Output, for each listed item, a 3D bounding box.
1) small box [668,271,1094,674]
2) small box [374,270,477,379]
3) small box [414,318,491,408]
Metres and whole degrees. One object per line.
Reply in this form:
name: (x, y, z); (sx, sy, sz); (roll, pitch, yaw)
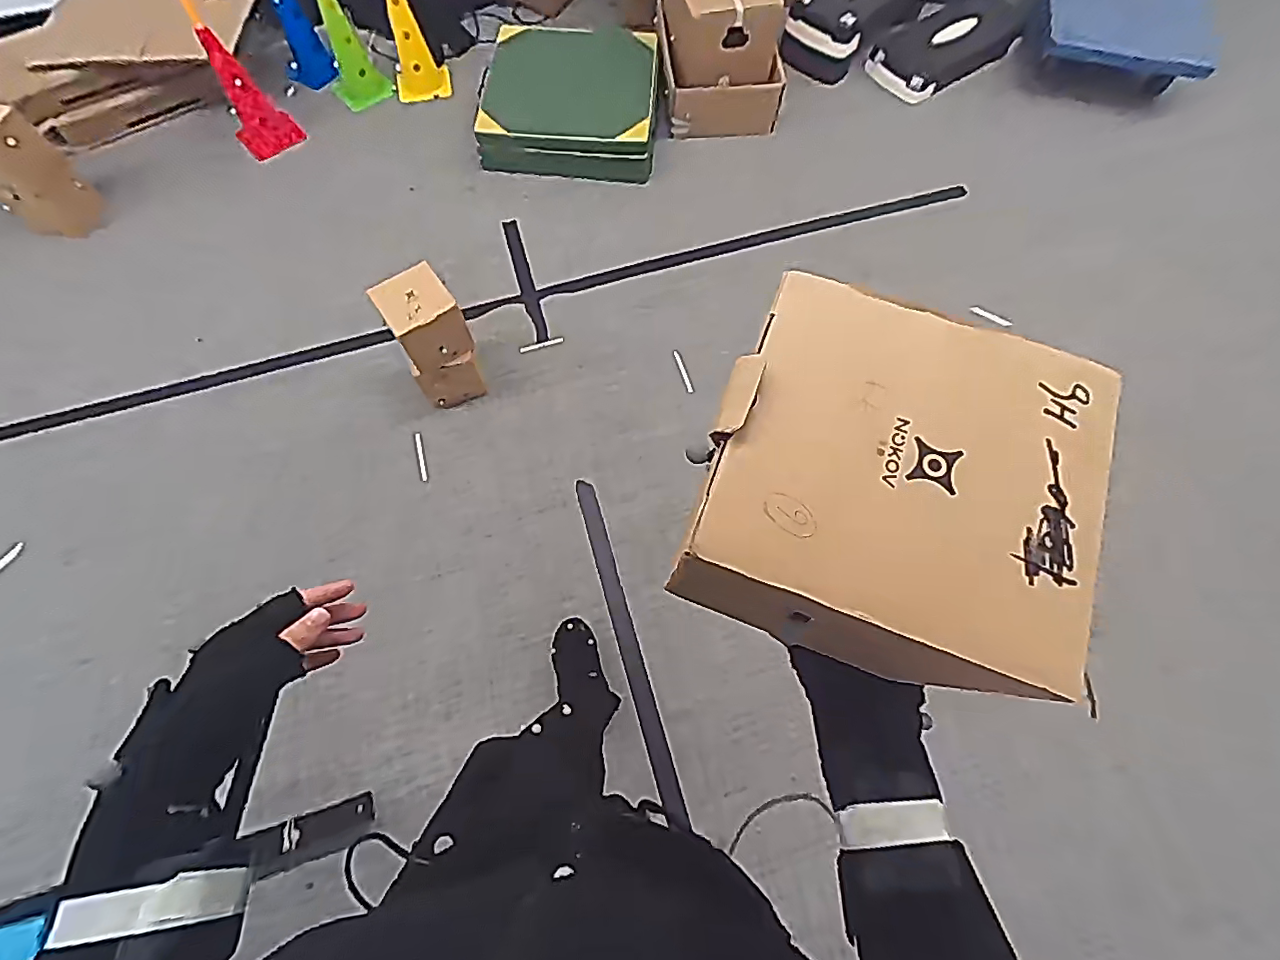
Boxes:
small box: (0.122, 0.010, 0.334); (0.179, 0.176, 0.168); (18, 73, 5)
small box: (-0.552, -0.399, 1.407); (0.168, 0.176, 0.179); (-30, 73, -10)
small box: (-0.544, -0.327, 1.555); (0.168, 0.176, 0.179); (-18, 68, -7)
